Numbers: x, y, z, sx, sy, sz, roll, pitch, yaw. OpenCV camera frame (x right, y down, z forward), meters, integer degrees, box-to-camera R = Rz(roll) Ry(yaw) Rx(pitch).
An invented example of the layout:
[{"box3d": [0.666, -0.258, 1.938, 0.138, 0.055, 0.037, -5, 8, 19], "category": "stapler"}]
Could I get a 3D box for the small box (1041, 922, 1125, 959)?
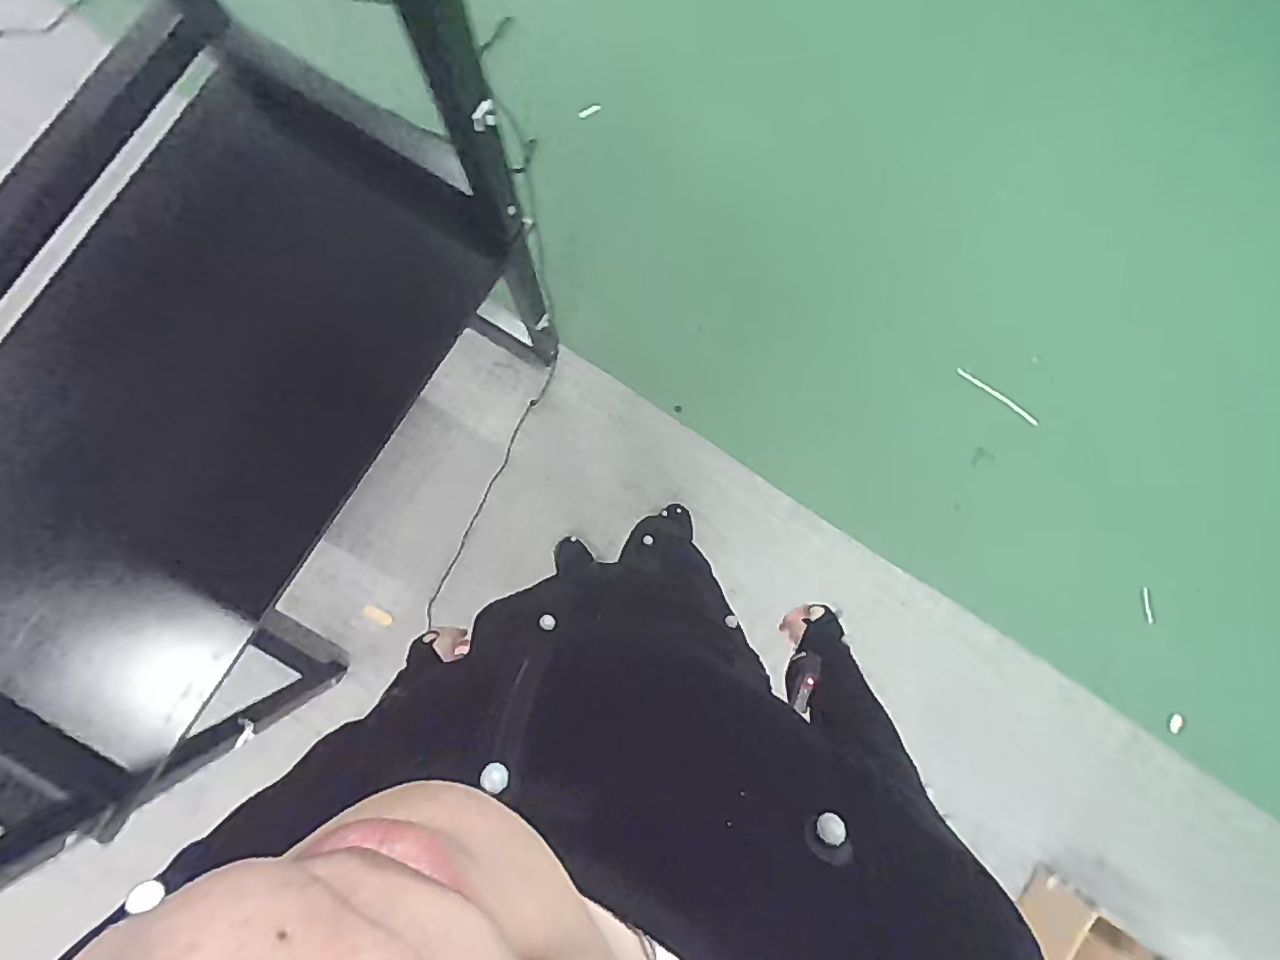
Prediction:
[{"box3d": [1.280, 1.394, 1.505, 0.168, 0.176, 0.179, -44, 91, -5], "category": "small box"}]
